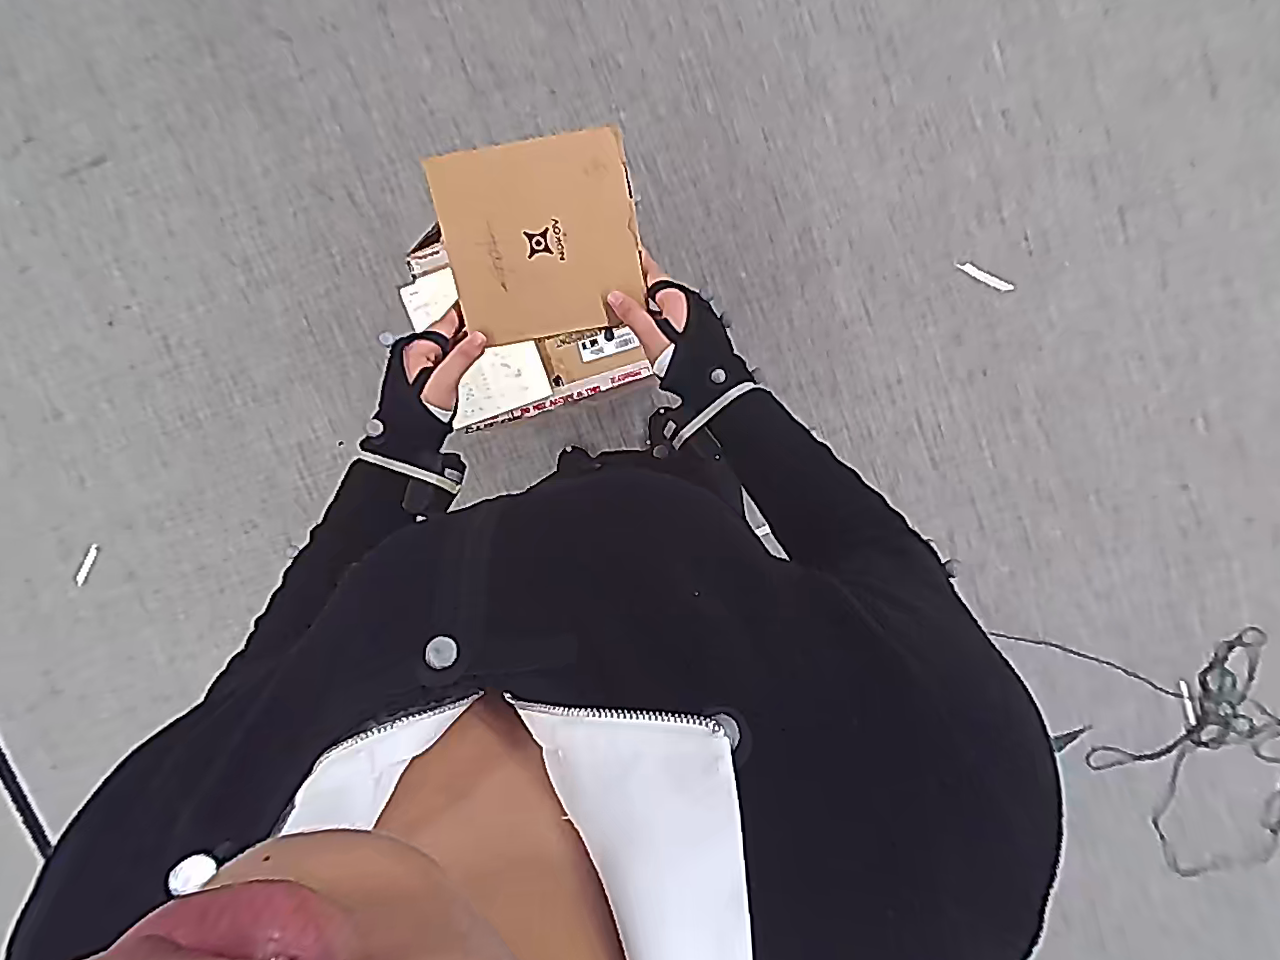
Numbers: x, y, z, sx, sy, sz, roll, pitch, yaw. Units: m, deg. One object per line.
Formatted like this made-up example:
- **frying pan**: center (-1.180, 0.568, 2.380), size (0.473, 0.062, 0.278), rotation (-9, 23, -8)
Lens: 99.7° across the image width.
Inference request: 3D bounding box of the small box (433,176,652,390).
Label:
- **small box**: center (-0.091, -0.201, 0.578), size (0.179, 0.176, 0.168), rotation (-11, 105, 0)
